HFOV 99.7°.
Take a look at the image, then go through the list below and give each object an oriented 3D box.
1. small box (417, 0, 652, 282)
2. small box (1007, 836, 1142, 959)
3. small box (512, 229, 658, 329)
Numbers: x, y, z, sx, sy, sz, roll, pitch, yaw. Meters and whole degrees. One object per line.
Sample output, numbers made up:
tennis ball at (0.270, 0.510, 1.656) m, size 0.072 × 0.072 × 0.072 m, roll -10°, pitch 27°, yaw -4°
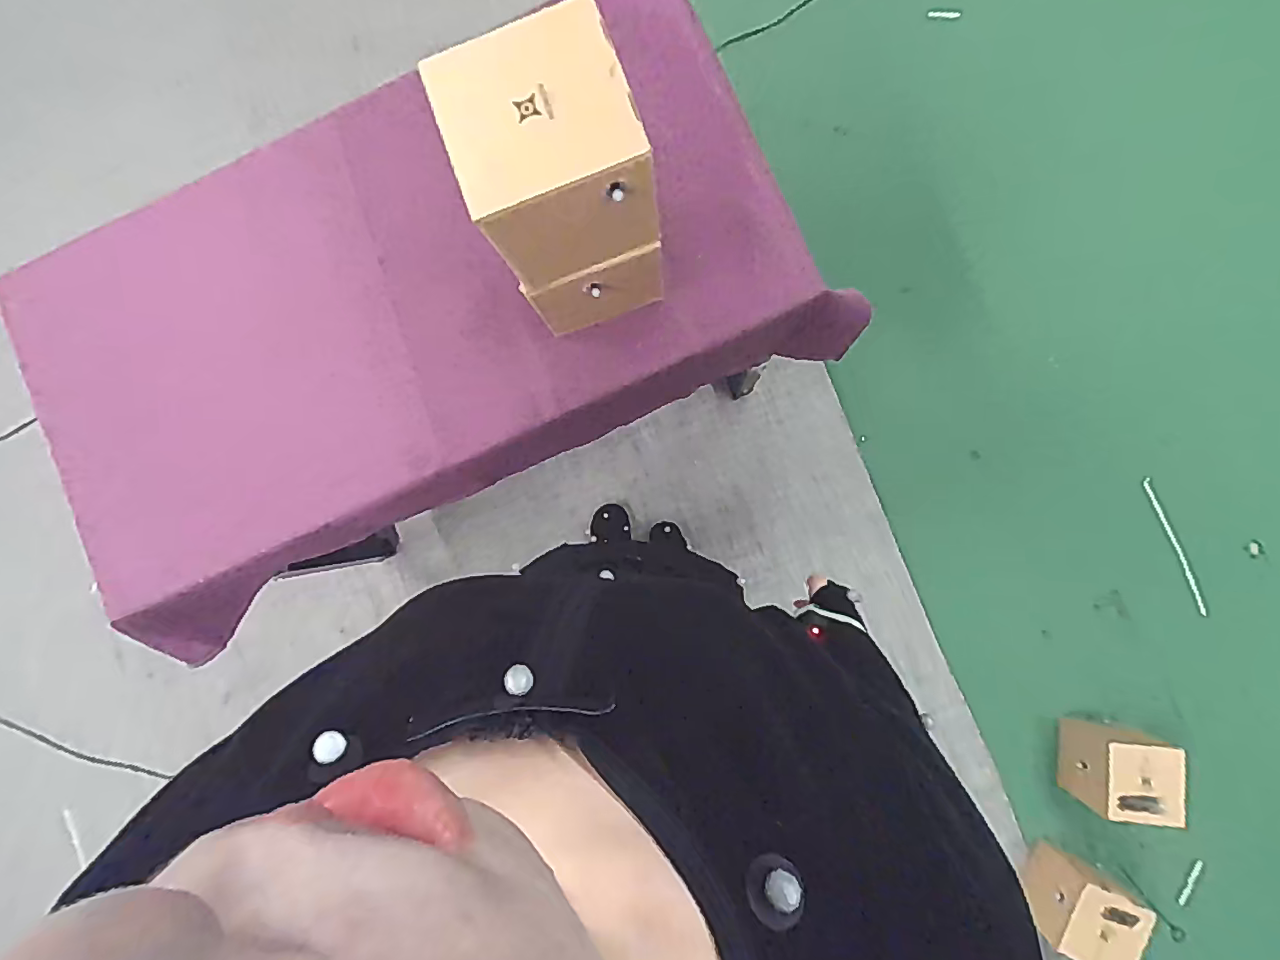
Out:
small box at (-0.096, -0.338, 0.572) m, size 0.179 × 0.176 × 0.168 m, roll -20°, pitch 87°, yaw 3°
small box at (1.043, 1.022, 1.316) m, size 0.168 × 0.176 × 0.179 m, roll 25°, pitch 90°, yaw 4°
small box at (-0.081, -0.325, 0.733) m, size 0.179 × 0.176 × 0.168 m, roll -18°, pitch 87°, yaw 3°
